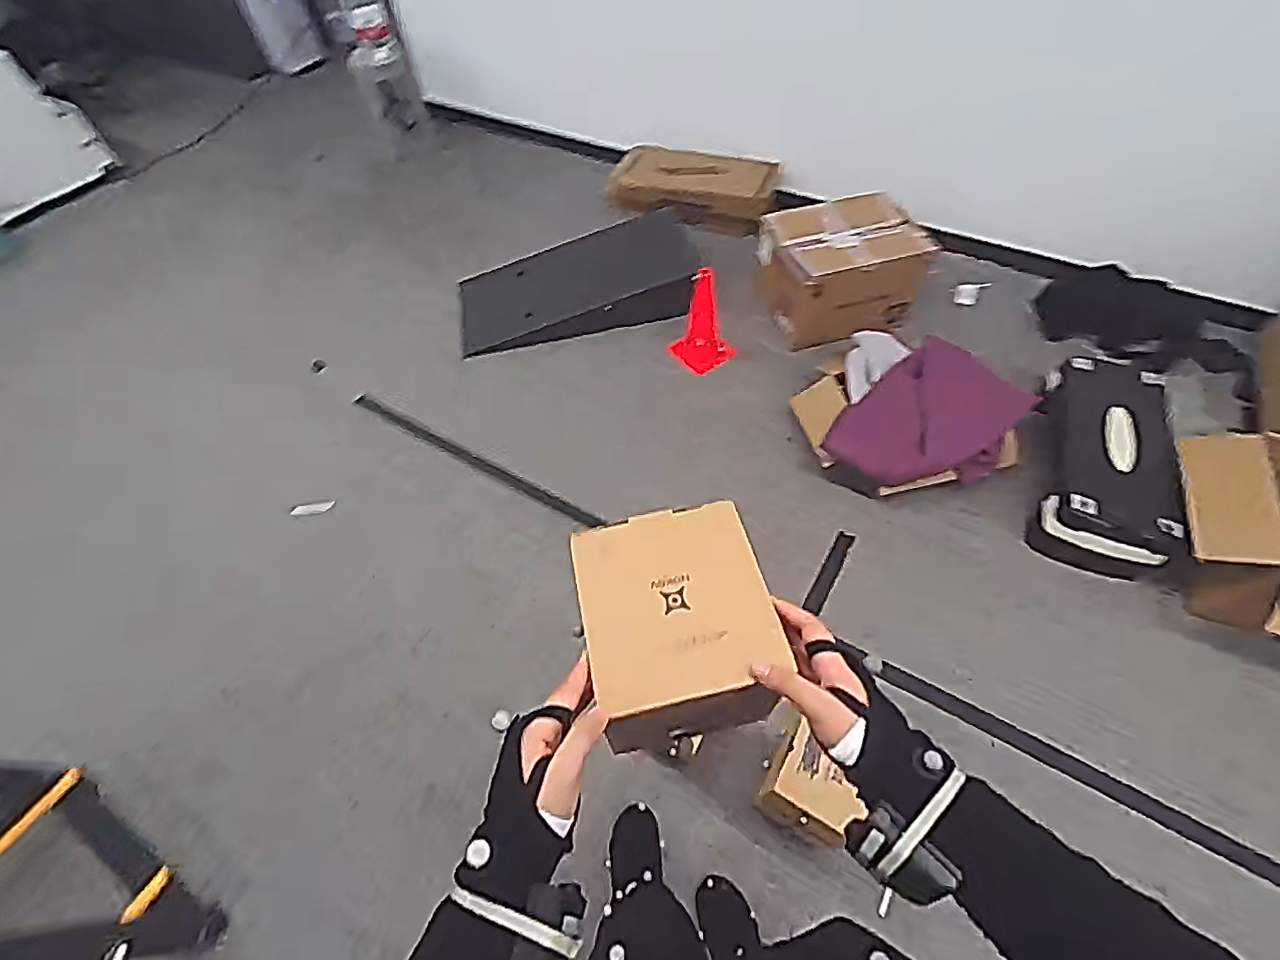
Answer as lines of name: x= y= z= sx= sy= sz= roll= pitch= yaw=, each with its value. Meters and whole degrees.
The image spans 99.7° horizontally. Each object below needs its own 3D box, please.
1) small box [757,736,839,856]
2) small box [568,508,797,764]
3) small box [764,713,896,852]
small box: x=0.371 y=0.686 z=1.189 sx=0.168 sy=0.176 sz=0.179 roll=28 pitch=63 yaw=20
small box: x=0.031 y=0.157 z=0.537 sx=0.168 sy=0.176 sz=0.179 roll=-13 pitch=55 yaw=-6
small box: x=0.360 y=0.591 z=1.053 sx=0.179 sy=0.176 sz=0.168 roll=27 pitch=61 yaw=18
